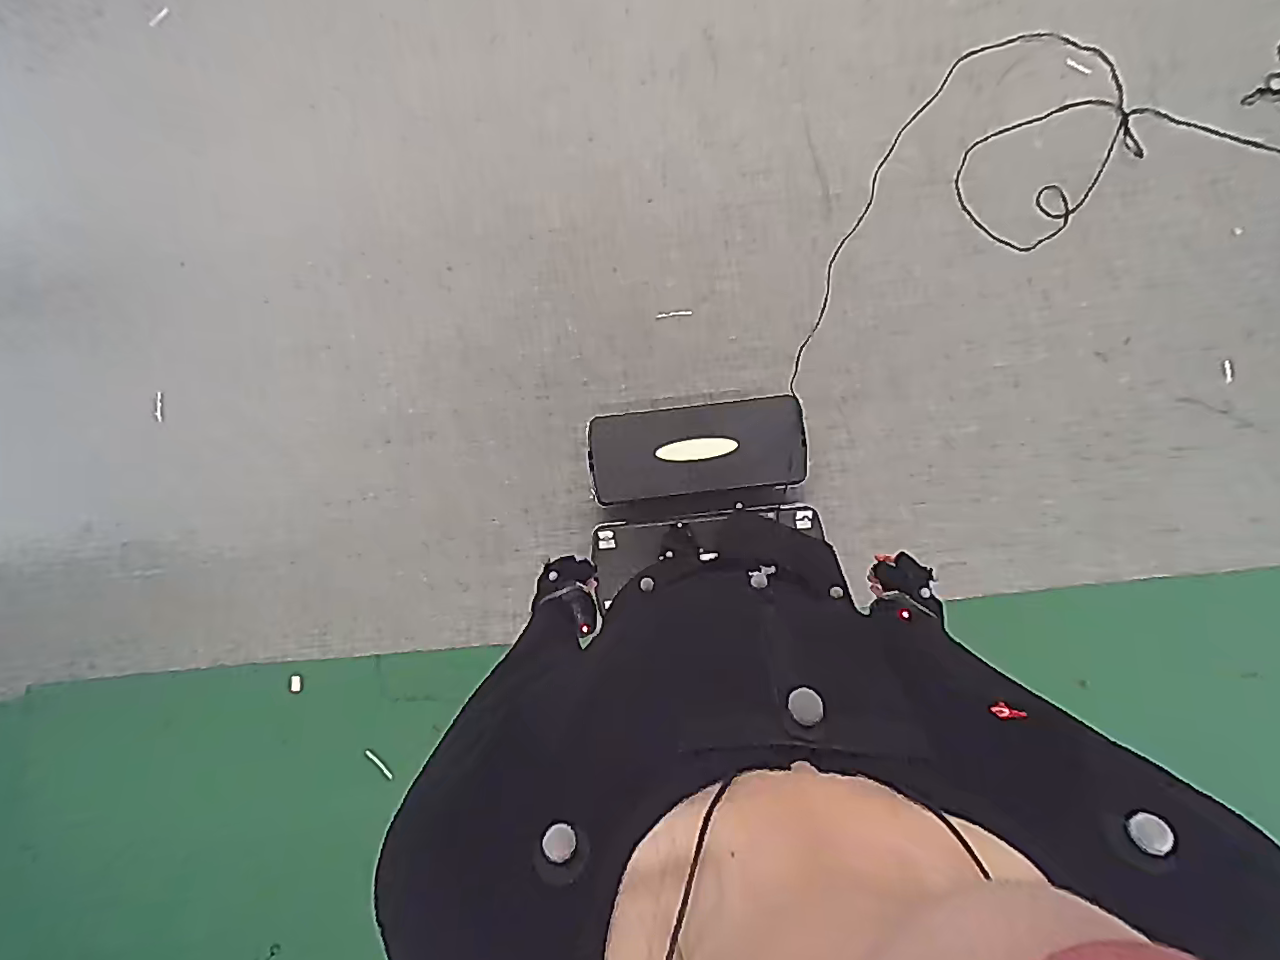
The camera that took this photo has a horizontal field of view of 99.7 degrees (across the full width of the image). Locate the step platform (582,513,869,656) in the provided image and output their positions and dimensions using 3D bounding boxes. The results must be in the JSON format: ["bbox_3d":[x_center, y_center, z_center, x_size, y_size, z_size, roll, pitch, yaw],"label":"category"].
[{"bbox_3d":[0.203,0.259,1.383,0.684,0.204,0.286,-6,85,1],"label":"step platform"}]
